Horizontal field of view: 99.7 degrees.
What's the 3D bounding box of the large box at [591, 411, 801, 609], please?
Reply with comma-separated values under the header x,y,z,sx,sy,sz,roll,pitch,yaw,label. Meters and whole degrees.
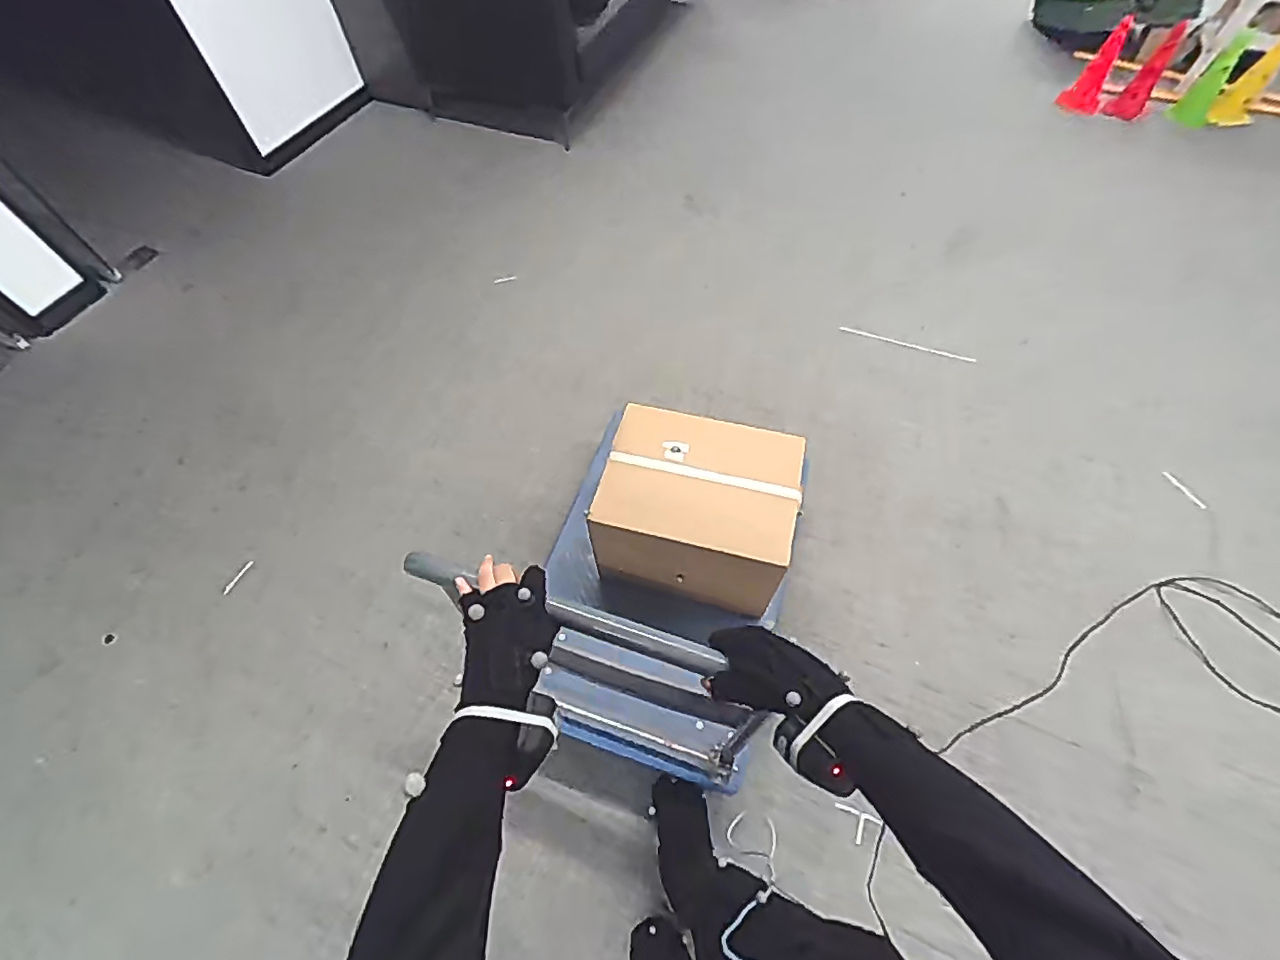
x,y,z,sx,sy,sz,roll,pitch,yaw,label
0.135,0.078,1.267,0.408,0.320,0.320,11,60,10,large box
